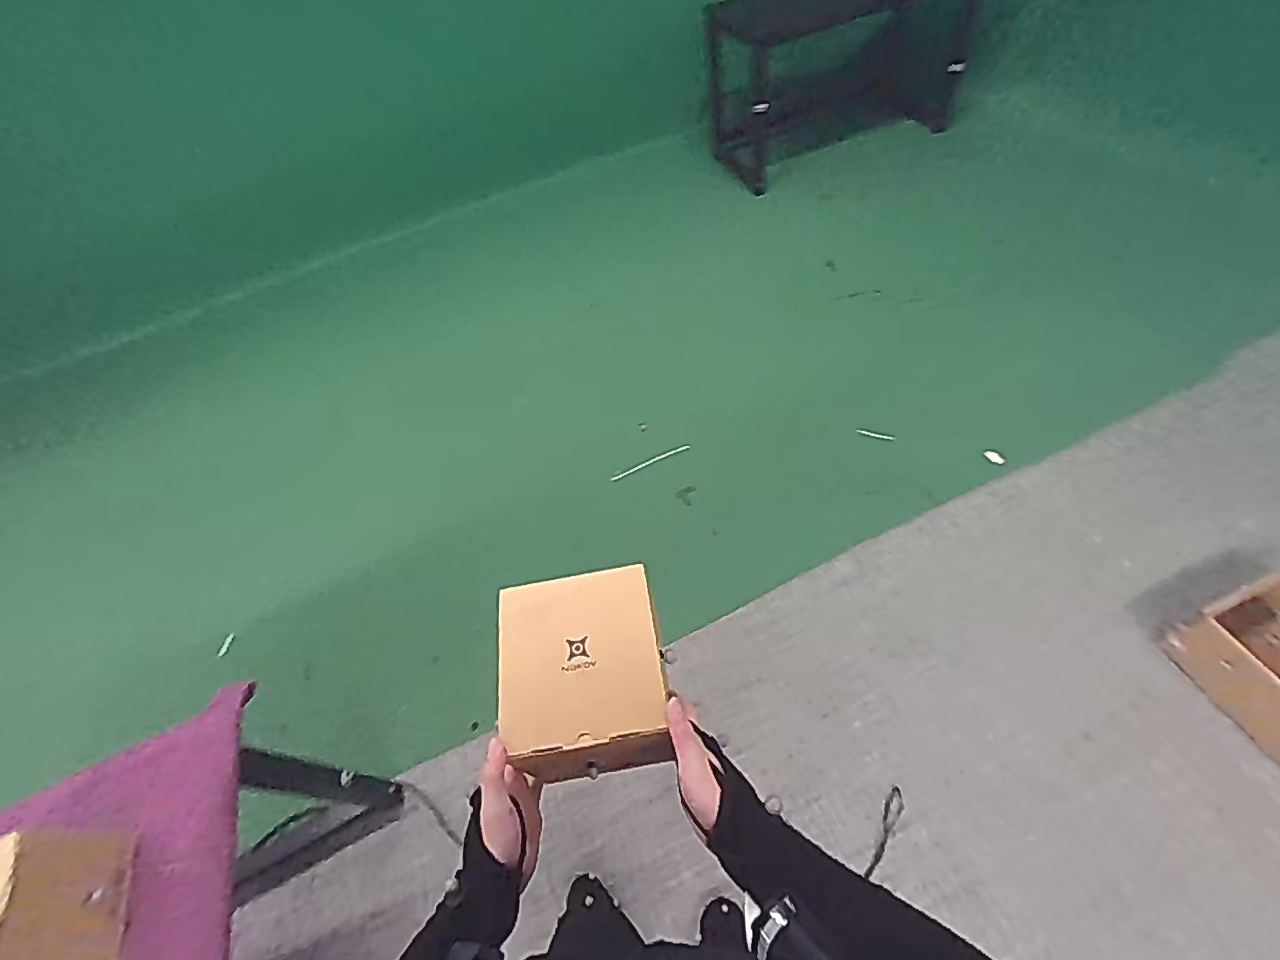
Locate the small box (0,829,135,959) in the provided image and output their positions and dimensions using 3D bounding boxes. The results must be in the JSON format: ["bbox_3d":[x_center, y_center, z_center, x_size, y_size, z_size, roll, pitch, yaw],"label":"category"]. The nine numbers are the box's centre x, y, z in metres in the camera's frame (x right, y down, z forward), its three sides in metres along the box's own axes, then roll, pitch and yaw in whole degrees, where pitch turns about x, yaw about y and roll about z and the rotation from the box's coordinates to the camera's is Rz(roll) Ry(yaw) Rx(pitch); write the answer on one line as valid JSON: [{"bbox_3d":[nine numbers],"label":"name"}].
[{"bbox_3d":[-0.846,0.596,0.720,0.179,0.176,0.168,-24,55,-5],"label":"small box"}]
